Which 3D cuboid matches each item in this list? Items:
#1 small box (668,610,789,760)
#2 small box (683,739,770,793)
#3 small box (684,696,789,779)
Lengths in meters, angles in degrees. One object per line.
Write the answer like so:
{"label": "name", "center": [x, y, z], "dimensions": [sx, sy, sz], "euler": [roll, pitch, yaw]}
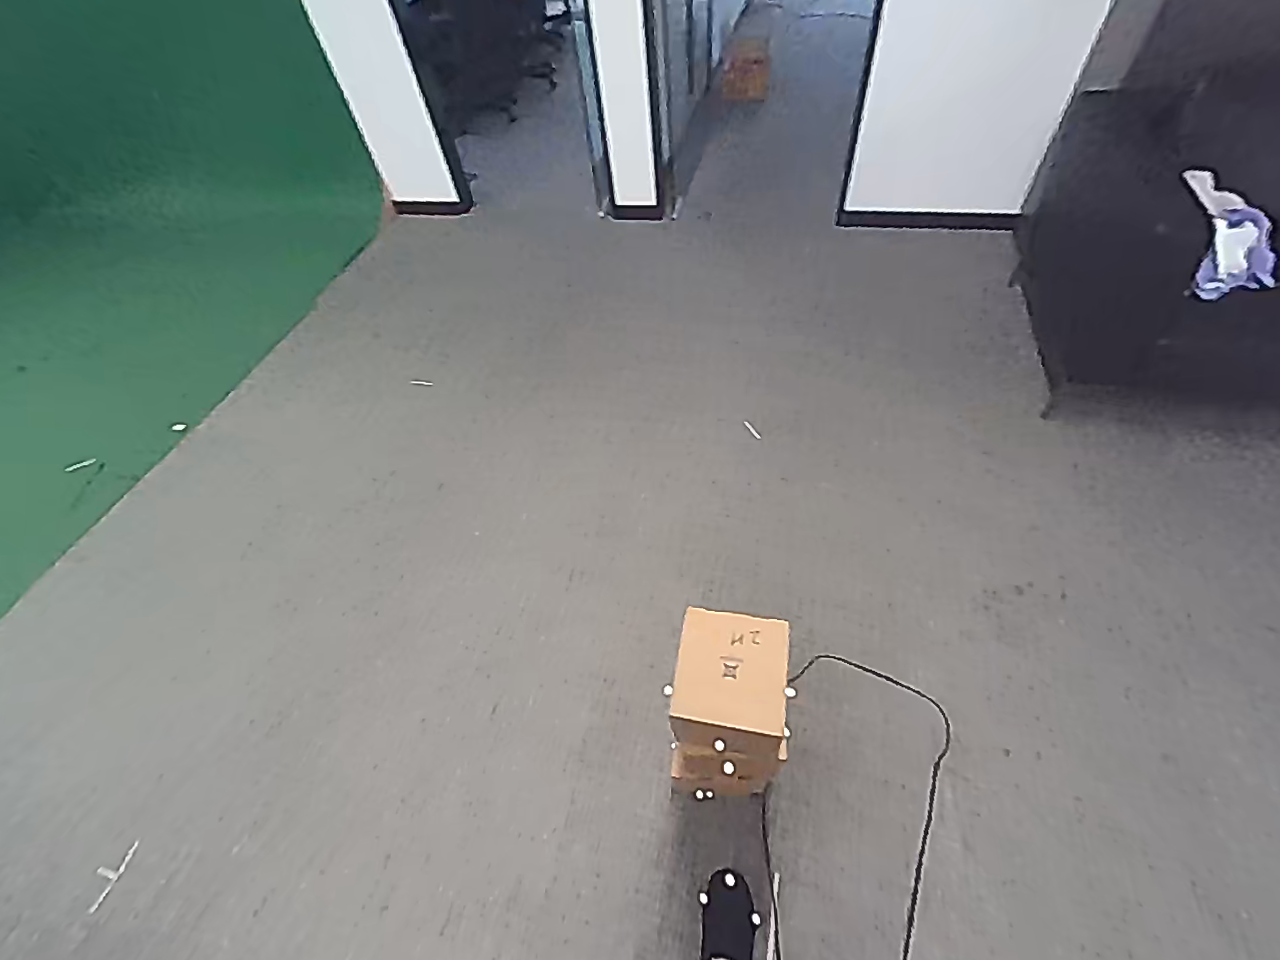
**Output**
{"label": "small box", "center": [0.148, 0.339, 0.886], "dimensions": [0.168, 0.176, 0.179], "euler": [6, 53, 13]}
{"label": "small box", "center": [0.177, 0.549, 1.136], "dimensions": [0.168, 0.176, 0.179], "euler": [-3, 51, 5]}
{"label": "small box", "center": [0.174, 0.448, 1.007], "dimensions": [0.179, 0.176, 0.168], "euler": [-1, 52, 8]}
